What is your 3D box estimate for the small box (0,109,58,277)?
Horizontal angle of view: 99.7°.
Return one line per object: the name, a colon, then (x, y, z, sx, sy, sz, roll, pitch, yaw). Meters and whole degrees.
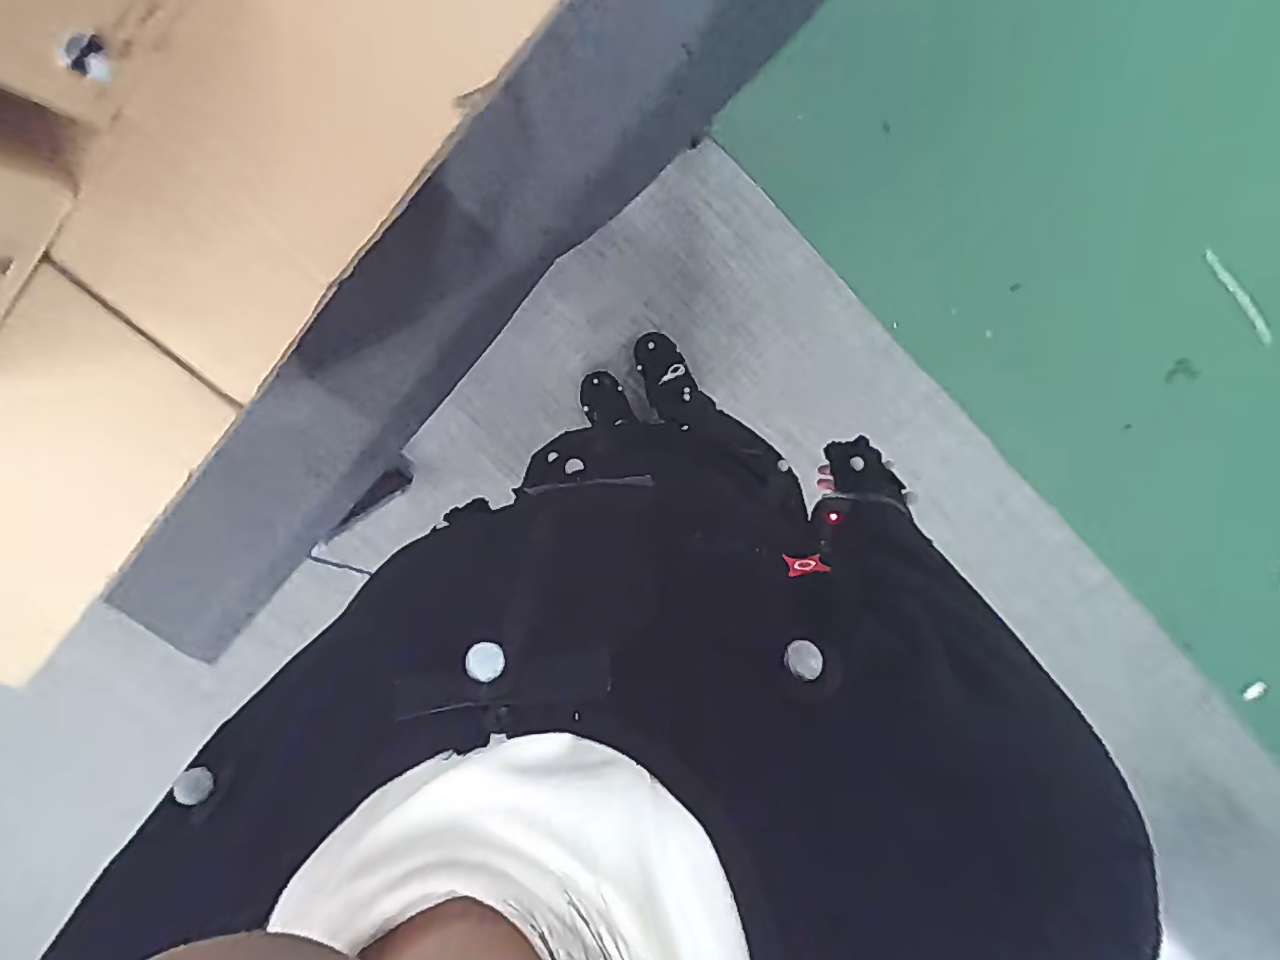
small box: (-0.447, -0.163, 0.234, 0.179, 0.176, 0.168, 42, 101, -11)
